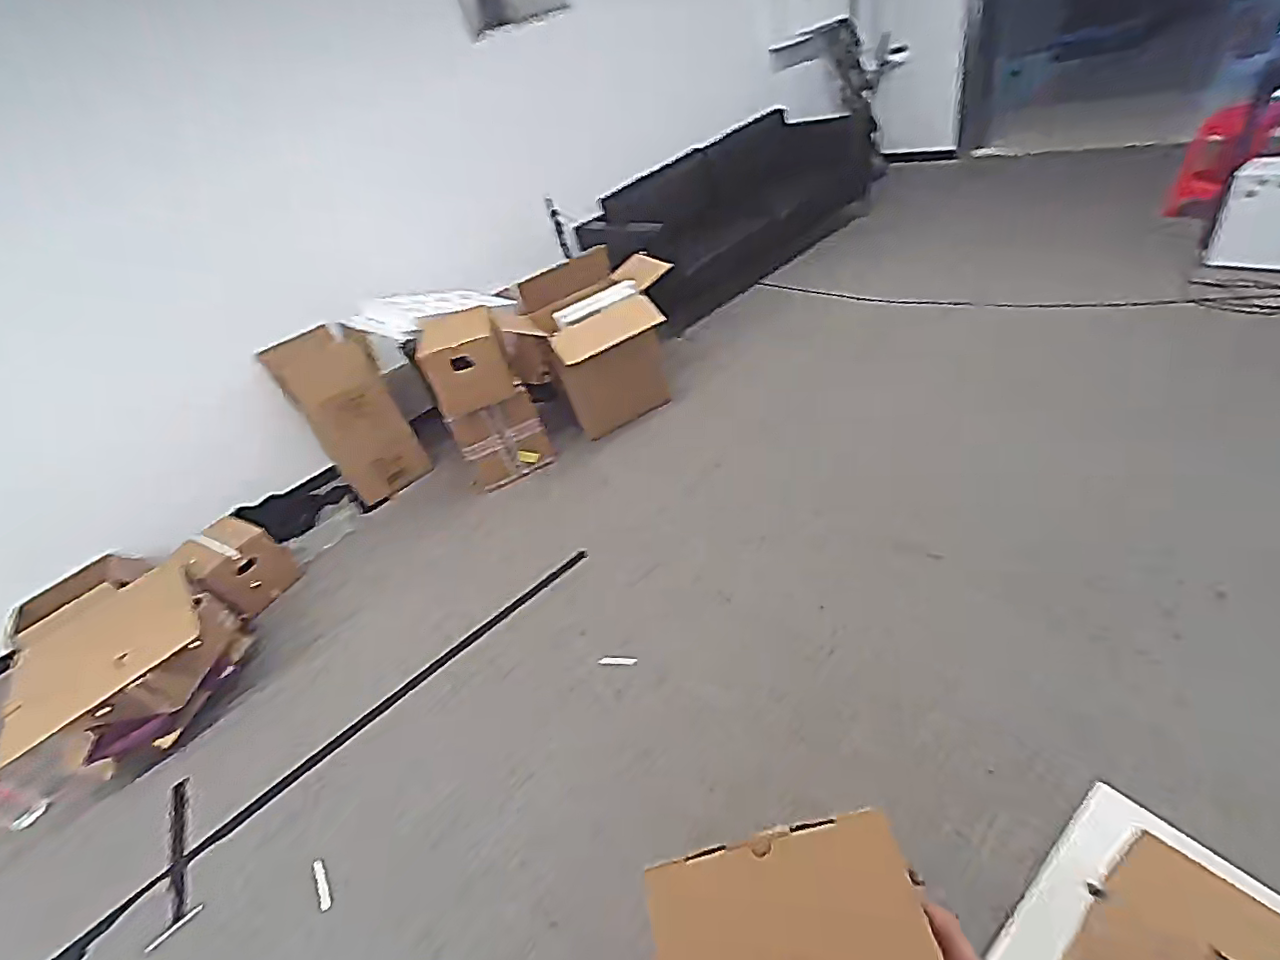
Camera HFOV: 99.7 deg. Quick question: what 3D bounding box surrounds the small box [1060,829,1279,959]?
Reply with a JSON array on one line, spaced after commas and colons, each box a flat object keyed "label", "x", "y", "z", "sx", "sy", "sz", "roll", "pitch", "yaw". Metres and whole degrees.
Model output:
[{"label": "small box", "x": 0.548, "y": 0.507, "z": 0.539, "sx": 0.179, "sy": 0.176, "sz": 0.168, "roll": -37, "pitch": 41, "yaw": -22}]

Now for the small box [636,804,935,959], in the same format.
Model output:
[{"label": "small box", "x": 0.111, "y": 0.343, "z": 0.366, "sx": 0.168, "sy": 0.176, "sz": 0.179, "roll": -19, "pitch": 51, "yaw": 4}]
